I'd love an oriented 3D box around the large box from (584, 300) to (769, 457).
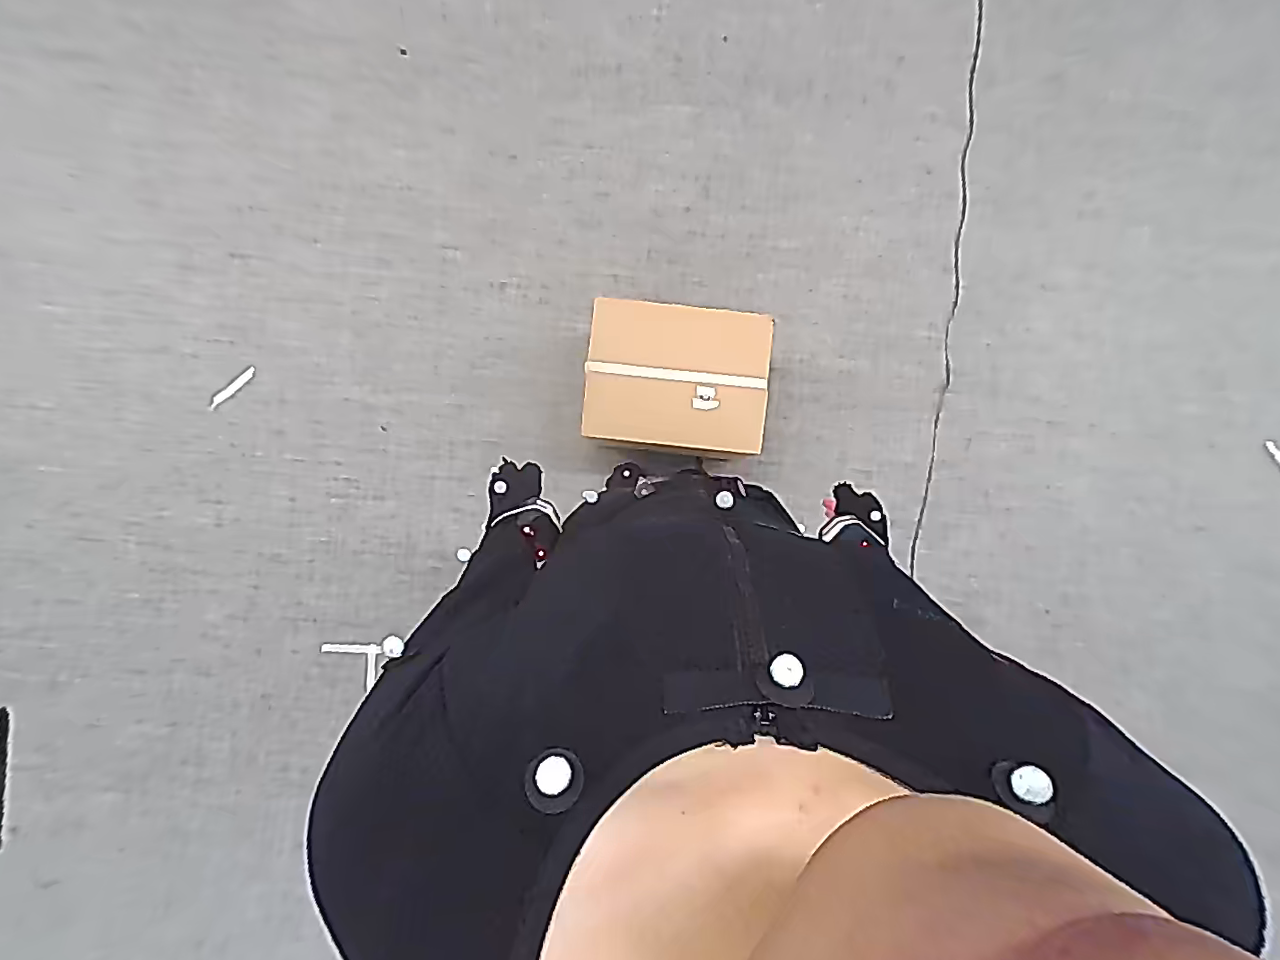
[{"bbox_3d":[0.077,-0.234,1.358,0.408,0.320,0.320,5,90,-1],"label":"large box"}]
